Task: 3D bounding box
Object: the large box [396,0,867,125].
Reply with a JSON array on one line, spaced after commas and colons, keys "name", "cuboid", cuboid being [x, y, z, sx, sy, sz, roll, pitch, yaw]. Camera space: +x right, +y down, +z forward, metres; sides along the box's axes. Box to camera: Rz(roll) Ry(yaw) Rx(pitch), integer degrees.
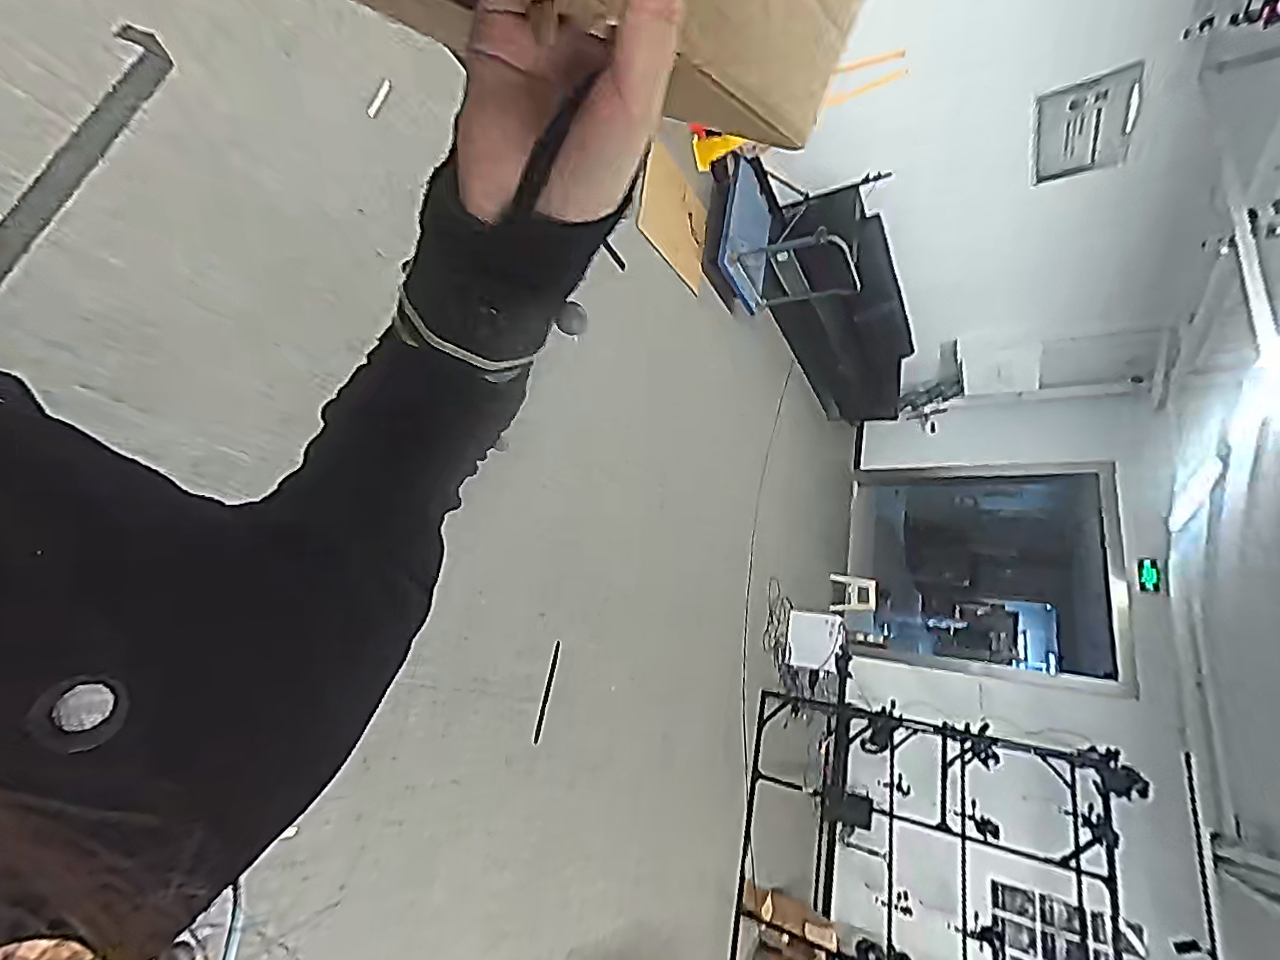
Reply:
[{"name": "large box", "cuboid": [-0.049, -0.399, 0.154, 0.320, 0.320, 0.408, -19, 136, -50]}]
